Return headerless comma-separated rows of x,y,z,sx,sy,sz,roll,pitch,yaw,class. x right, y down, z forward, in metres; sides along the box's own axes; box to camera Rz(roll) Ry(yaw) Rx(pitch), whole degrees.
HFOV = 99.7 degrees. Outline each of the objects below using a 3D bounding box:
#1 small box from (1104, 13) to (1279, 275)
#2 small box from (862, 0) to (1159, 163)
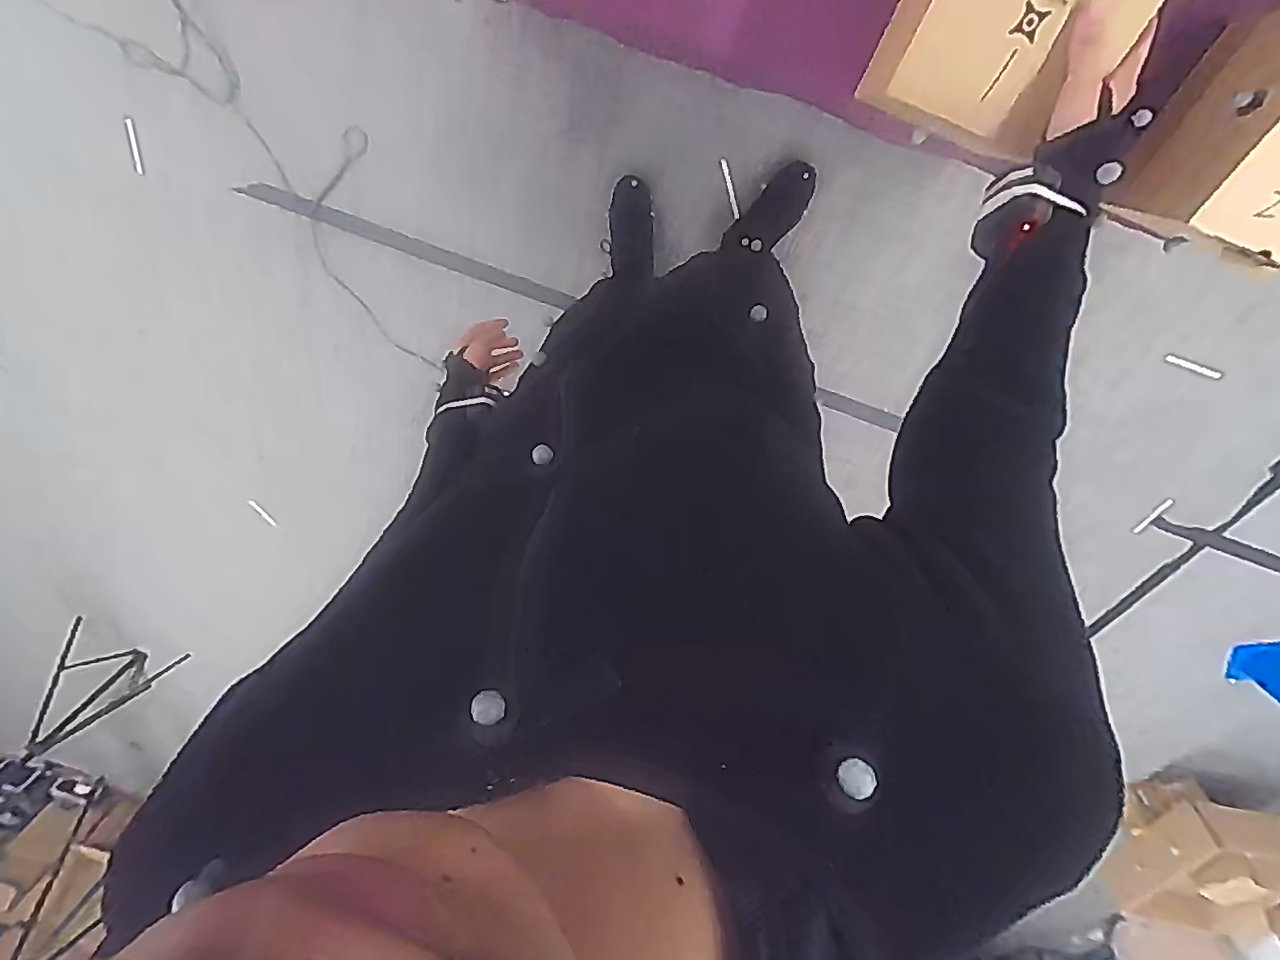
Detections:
0.614,-0.316,0.515,0.168,0.176,0.179,22,125,-4,small box
0.329,-0.425,0.498,0.168,0.176,0.179,21,126,-4,small box
